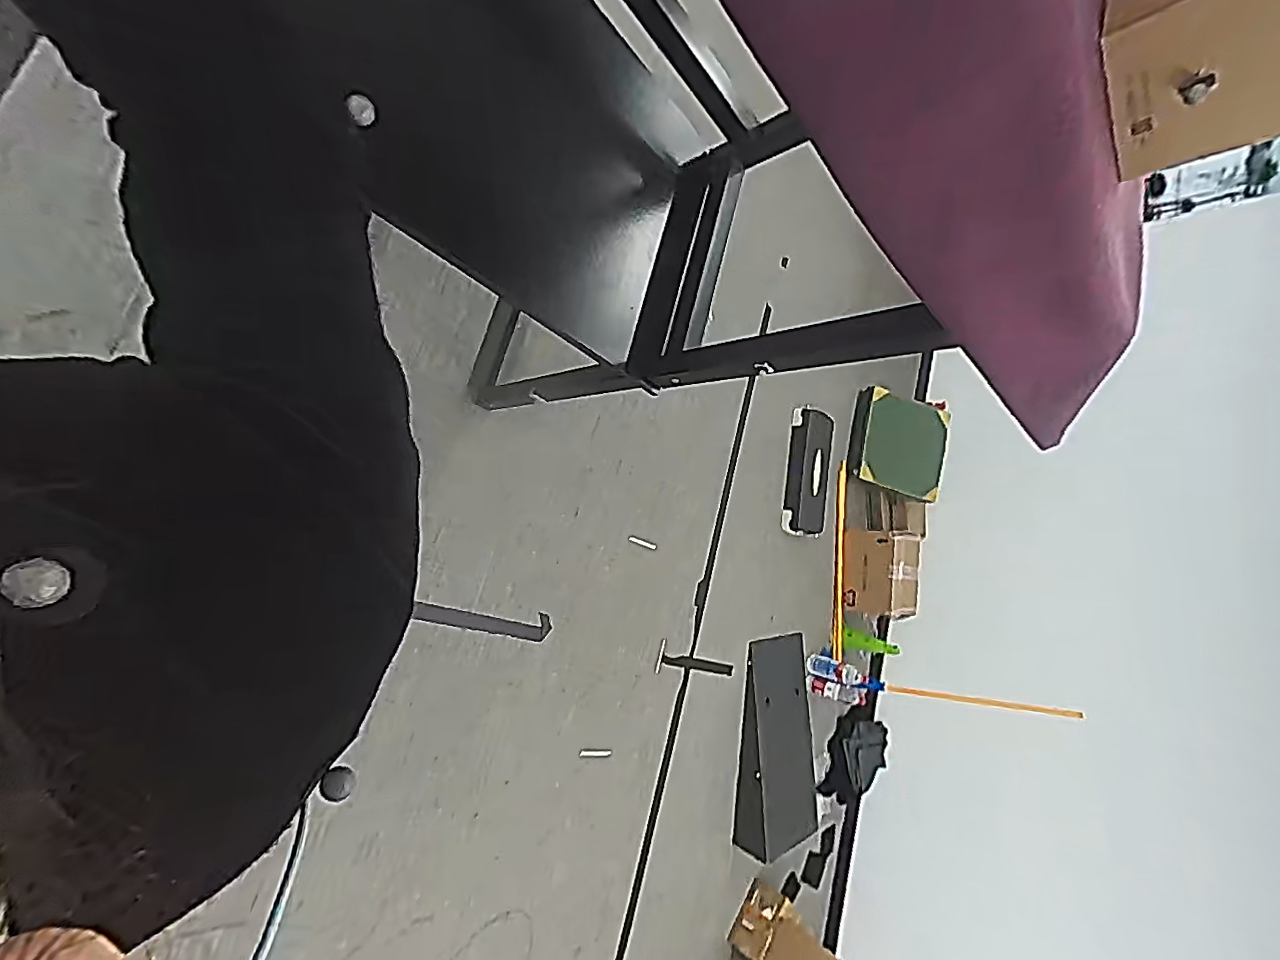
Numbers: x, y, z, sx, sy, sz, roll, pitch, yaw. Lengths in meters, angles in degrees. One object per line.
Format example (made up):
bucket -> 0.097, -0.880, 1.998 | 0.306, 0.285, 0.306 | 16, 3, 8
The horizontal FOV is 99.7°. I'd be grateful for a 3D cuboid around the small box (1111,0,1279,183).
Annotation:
small box -> 0.519, -0.401, 0.458 | 0.168, 0.176, 0.179 | 31, 71, -39
